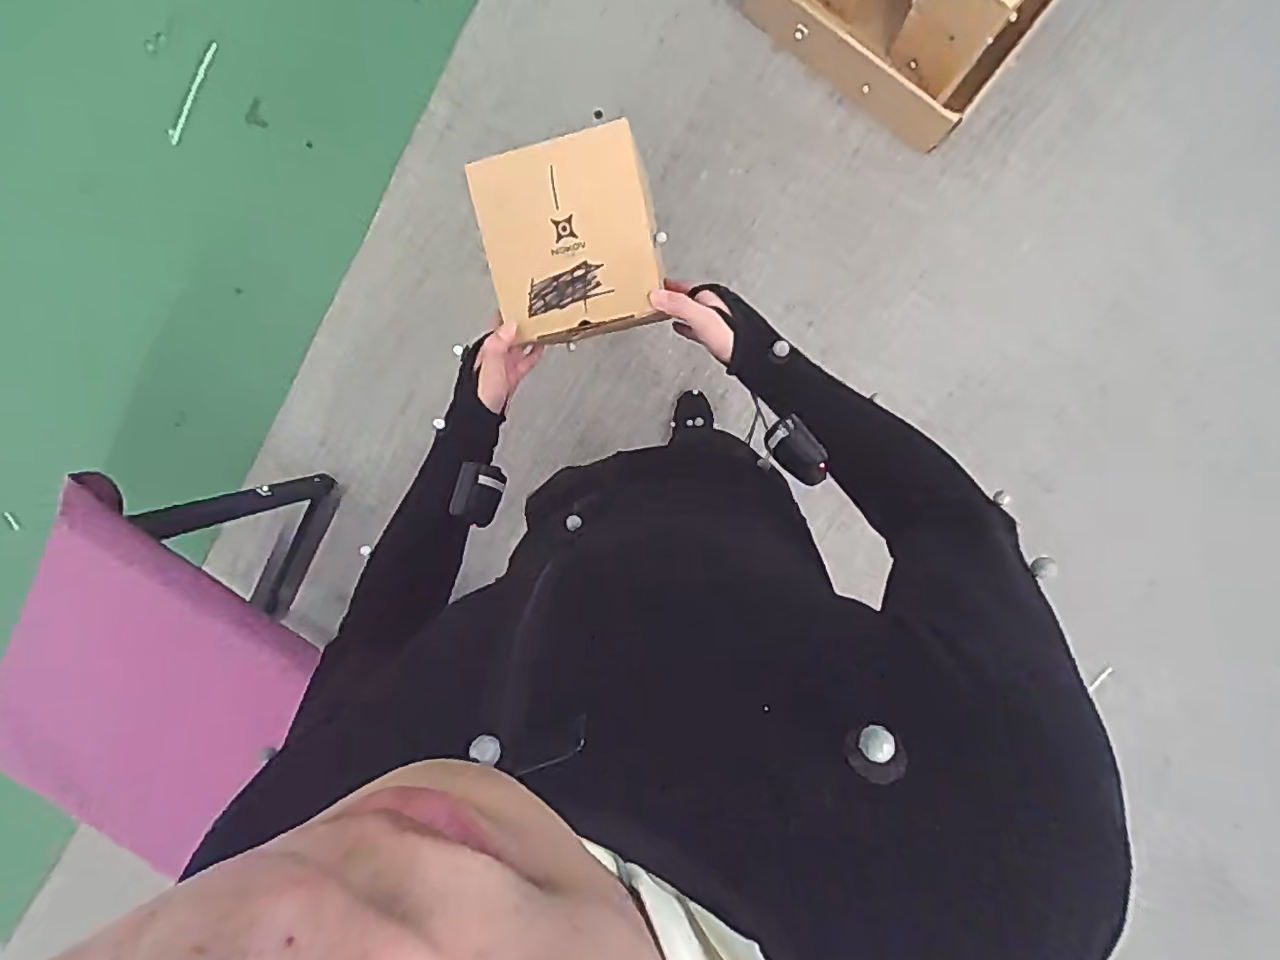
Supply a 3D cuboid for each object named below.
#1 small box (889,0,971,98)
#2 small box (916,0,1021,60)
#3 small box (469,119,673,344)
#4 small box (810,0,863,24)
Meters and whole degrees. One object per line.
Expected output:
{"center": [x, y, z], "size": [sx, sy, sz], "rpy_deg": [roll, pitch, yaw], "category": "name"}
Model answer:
{"center": [0.710, -1.039, 1.238], "size": [0.168, 0.176, 0.179], "rpy_deg": [39, 101, 0], "category": "small box"}
{"center": [0.694, -1.008, 1.077], "size": [0.168, 0.176, 0.179], "rpy_deg": [40, 100, 0], "category": "small box"}
{"center": [-0.060, -0.255, 0.601], "size": [0.168, 0.176, 0.179], "rpy_deg": [-10, 101, 9], "category": "small box"}
{"center": [0.483, -1.222, 1.237], "size": [0.168, 0.176, 0.179], "rpy_deg": [38, 100, 0], "category": "small box"}
